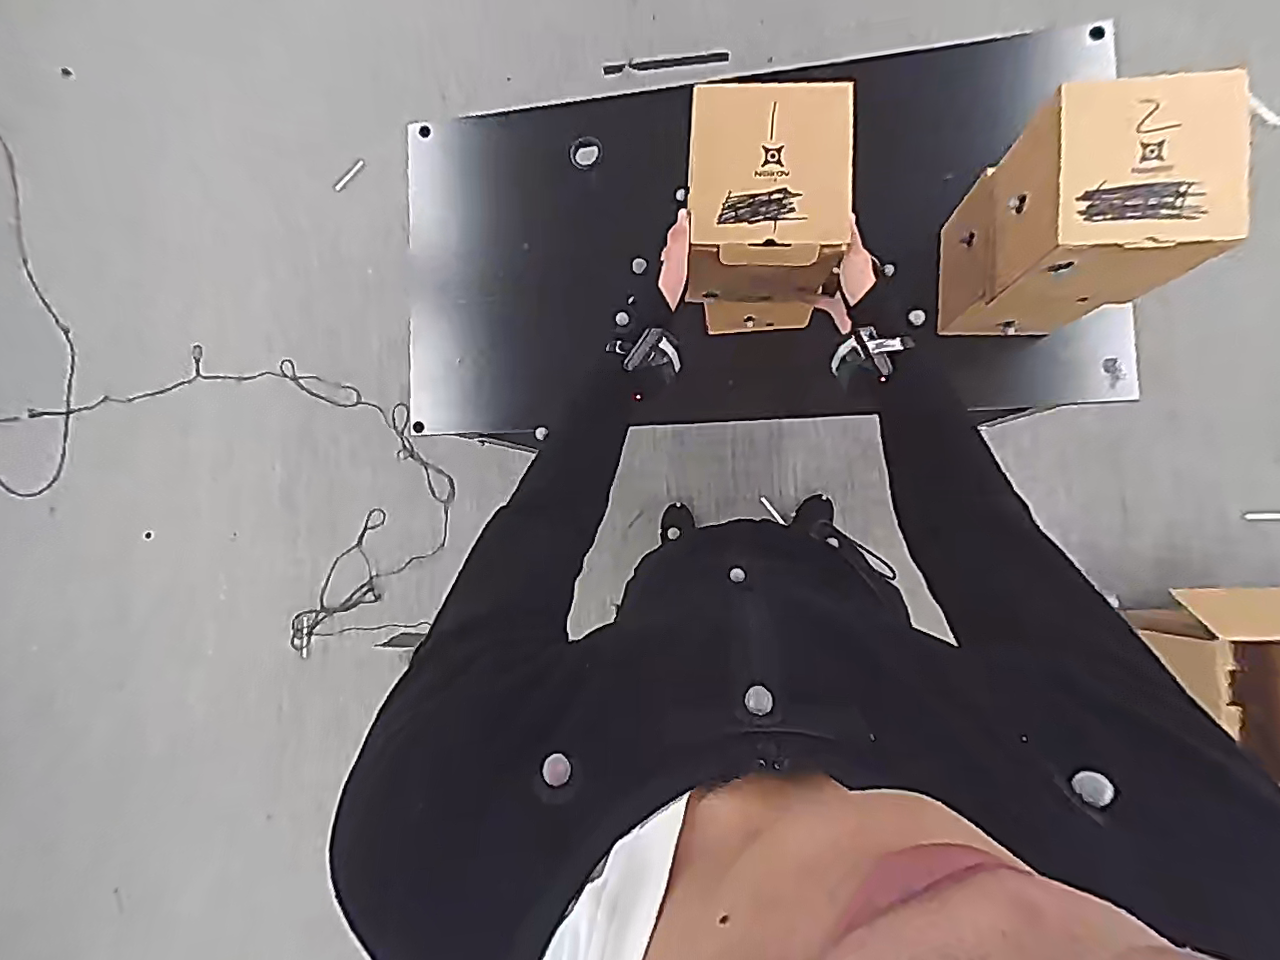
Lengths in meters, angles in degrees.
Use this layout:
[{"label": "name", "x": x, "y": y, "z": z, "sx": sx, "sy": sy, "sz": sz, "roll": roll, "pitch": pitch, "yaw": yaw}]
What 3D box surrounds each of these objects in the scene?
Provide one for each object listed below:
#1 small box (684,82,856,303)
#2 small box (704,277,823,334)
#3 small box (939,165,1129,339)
[{"label": "small box", "x": 0.138, "y": -0.317, "z": 0.630, "sx": 0.168, "sy": 0.176, "sz": 0.179, "roll": 2, "pitch": 89, "yaw": 3}, {"label": "small box", "x": 0.182, "y": -0.342, "z": 0.838, "sx": 0.168, "sy": 0.176, "sz": 0.179, "roll": -2, "pitch": 88, "yaw": 9}, {"label": "small box", "x": 0.547, "y": -0.315, "z": 0.774, "sx": 0.168, "sy": 0.176, "sz": 0.179, "roll": 3, "pitch": 88, "yaw": 11}]
